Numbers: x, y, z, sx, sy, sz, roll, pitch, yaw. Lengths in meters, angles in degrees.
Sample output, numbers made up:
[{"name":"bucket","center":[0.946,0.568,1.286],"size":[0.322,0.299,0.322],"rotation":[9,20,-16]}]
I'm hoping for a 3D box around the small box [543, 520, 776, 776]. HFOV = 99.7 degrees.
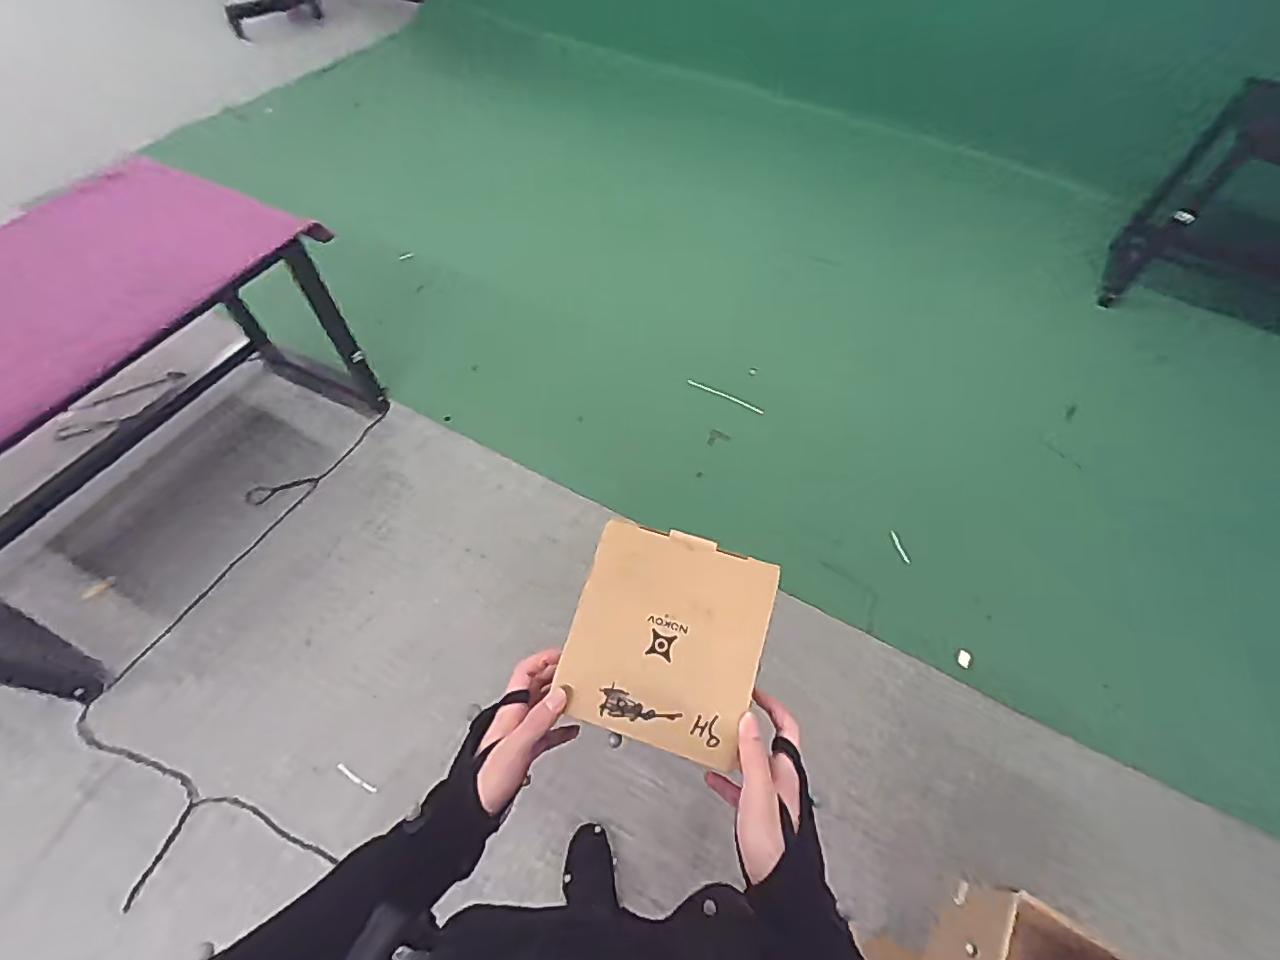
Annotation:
[{"name":"small box","center":[0.024,0.161,0.541],"size":[0.168,0.176,0.179],"rotation":[15,73,10]}]
